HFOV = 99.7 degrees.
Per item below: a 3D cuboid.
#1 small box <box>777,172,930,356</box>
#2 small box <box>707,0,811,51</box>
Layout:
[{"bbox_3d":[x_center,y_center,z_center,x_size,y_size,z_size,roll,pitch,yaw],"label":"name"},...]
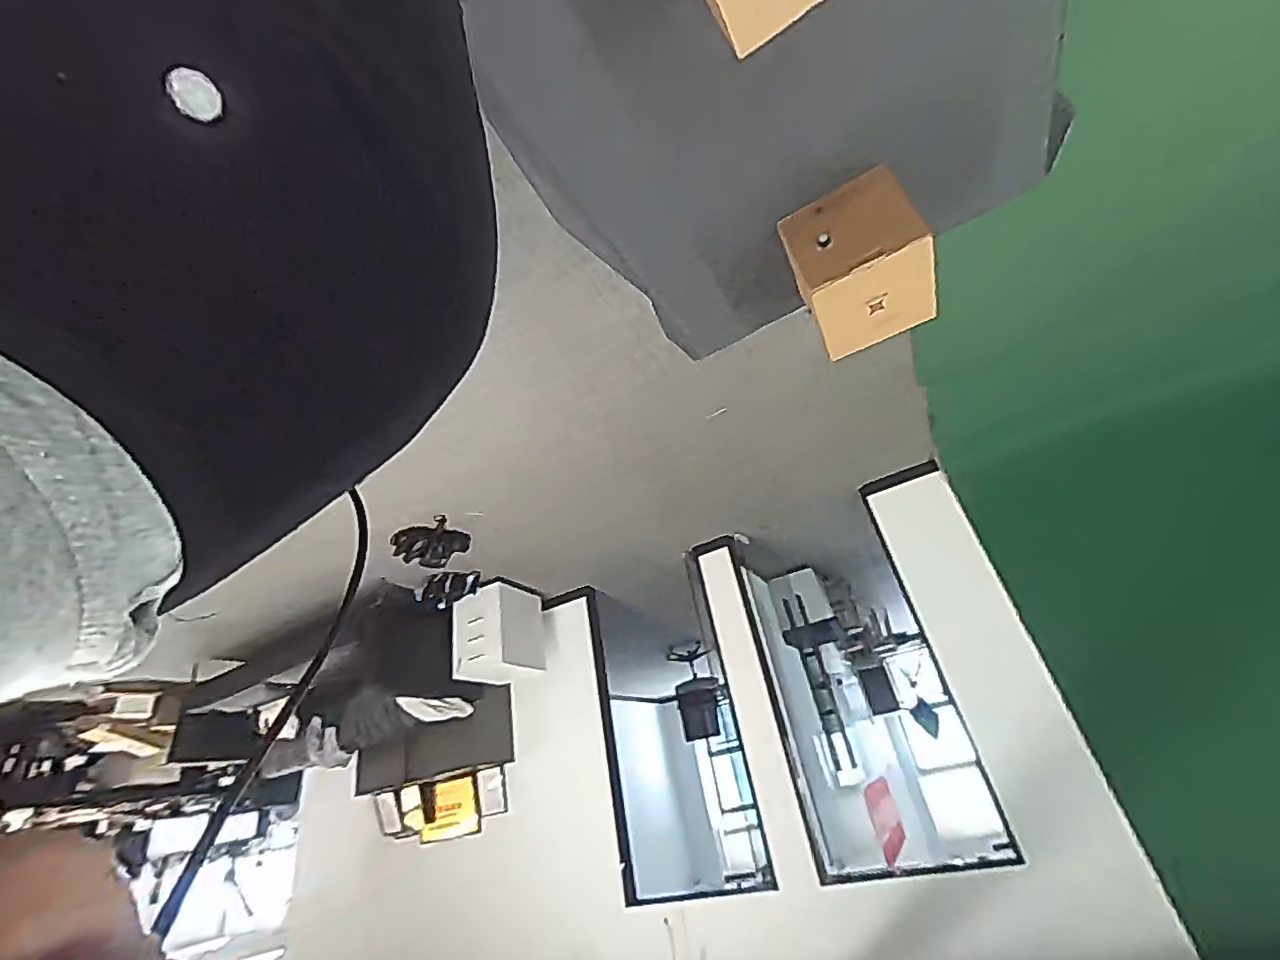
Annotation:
[{"bbox_3d":[0.325,-0.332,0.830,0.168,0.176,0.179,-21,151,20],"label":"small box"},{"bbox_3d":[0.104,-0.512,0.426,0.179,0.176,0.168,-23,149,23],"label":"small box"}]
